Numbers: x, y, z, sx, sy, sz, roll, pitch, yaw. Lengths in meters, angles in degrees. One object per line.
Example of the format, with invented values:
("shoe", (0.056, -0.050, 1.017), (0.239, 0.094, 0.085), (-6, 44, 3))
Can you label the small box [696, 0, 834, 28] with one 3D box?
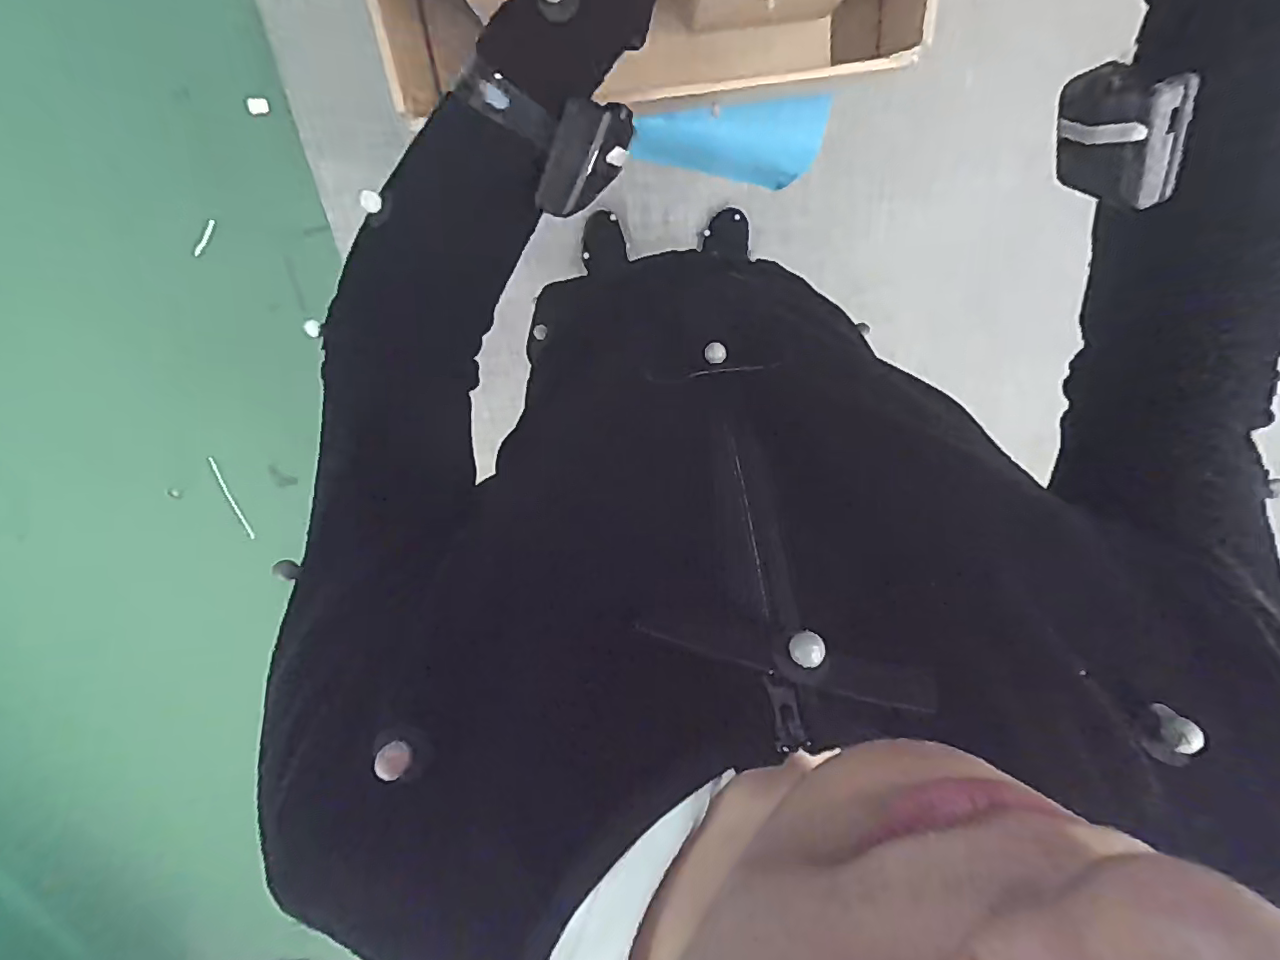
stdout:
("small box", (0.148, -0.621, 0.583), (0.179, 0.176, 0.168), (-3, 116, 4))
